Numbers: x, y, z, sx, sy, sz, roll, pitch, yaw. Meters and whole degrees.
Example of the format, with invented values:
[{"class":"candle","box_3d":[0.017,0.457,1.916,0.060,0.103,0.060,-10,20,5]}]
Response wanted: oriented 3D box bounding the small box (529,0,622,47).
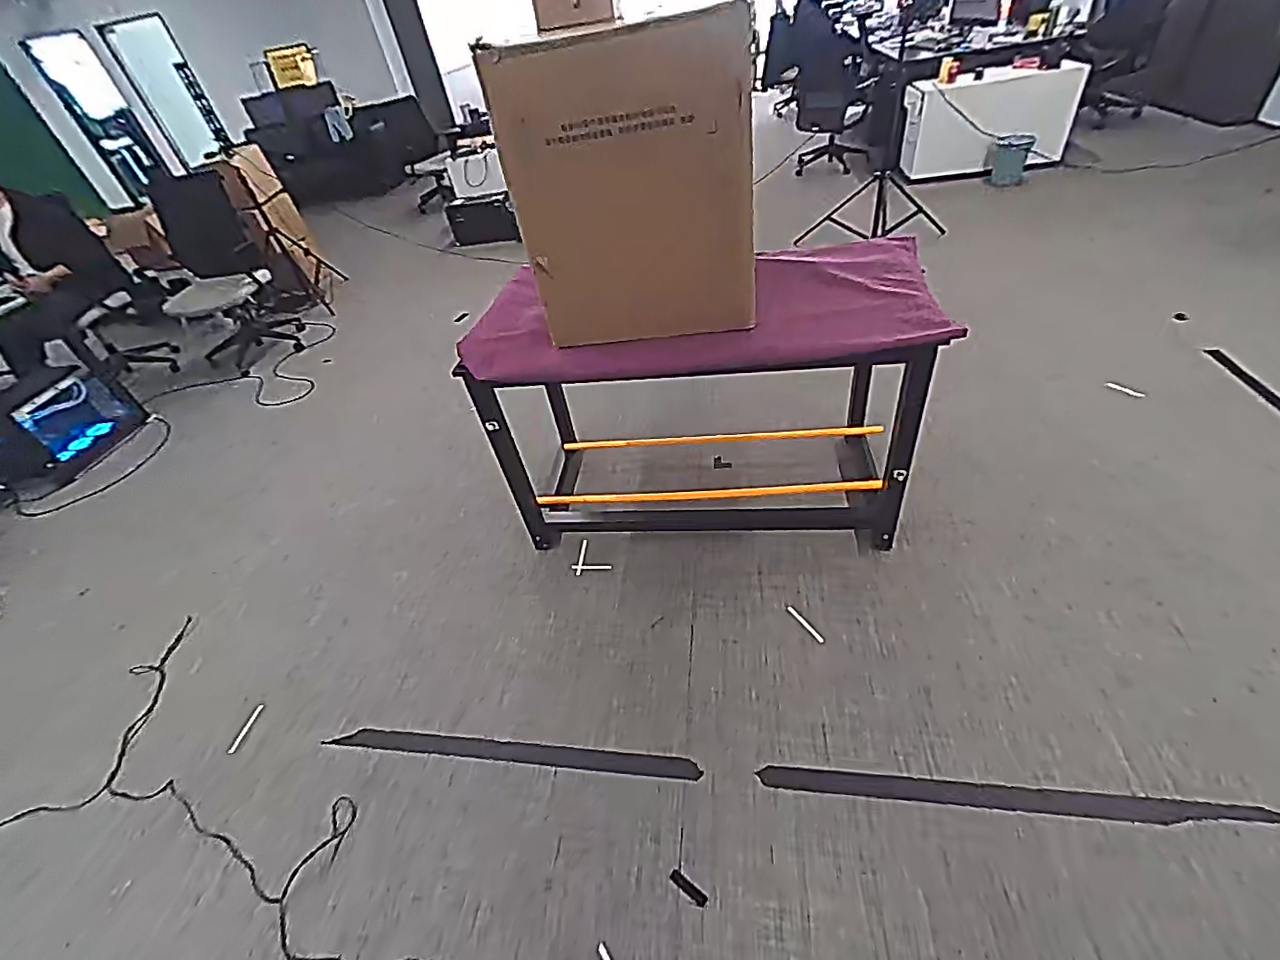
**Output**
[{"class":"small box","box_3d":[-0.143,-1.059,1.166,0.179,0.176,0.168,-2,42,10]}]
